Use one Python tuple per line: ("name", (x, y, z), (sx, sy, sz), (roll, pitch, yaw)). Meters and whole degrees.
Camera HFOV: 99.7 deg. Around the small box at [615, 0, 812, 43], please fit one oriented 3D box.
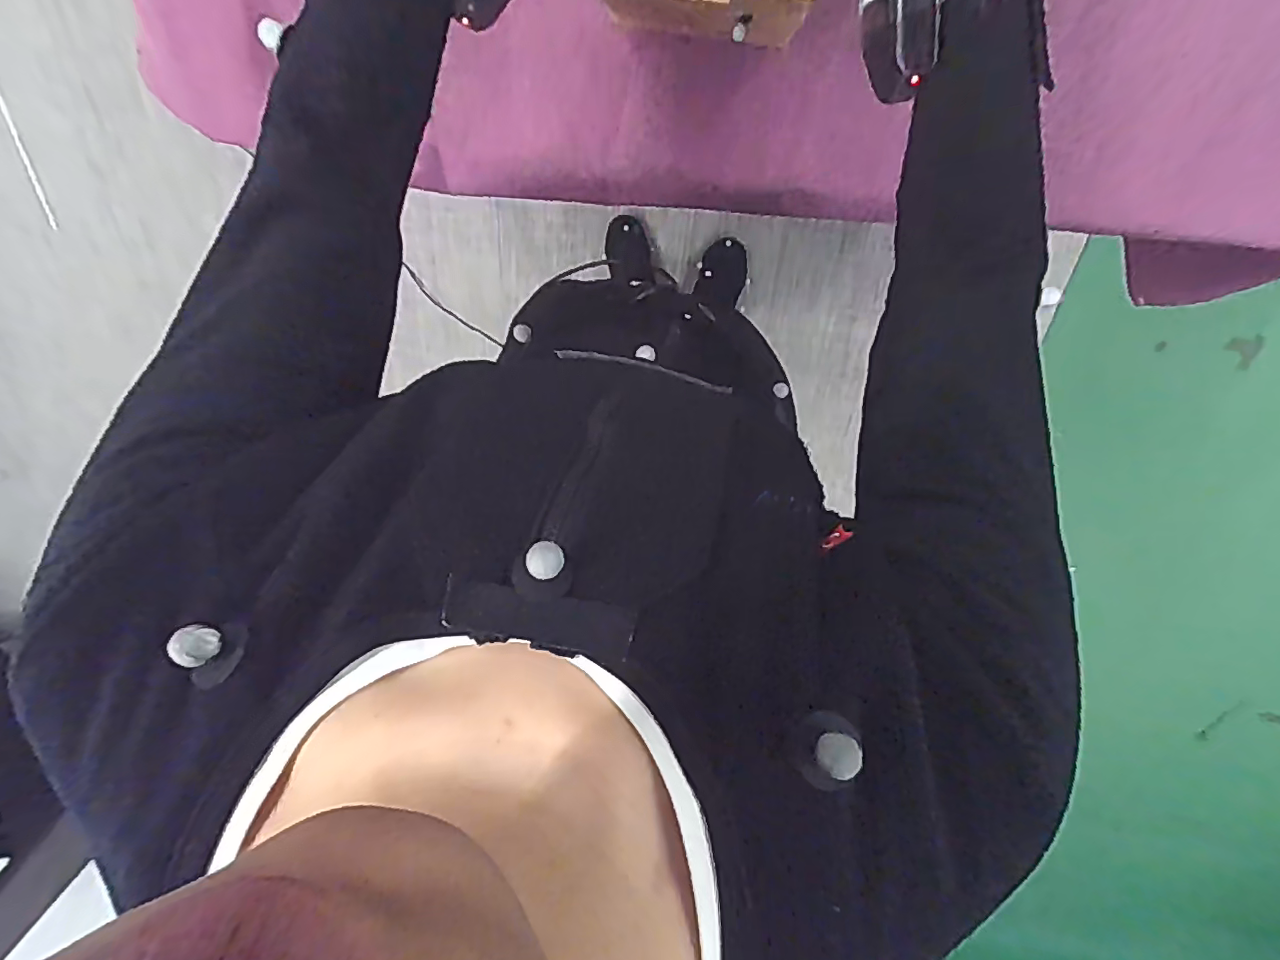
("small box", (0.063, -0.456, 0.401), (0.168, 0.176, 0.179), (9, 120, 1))
